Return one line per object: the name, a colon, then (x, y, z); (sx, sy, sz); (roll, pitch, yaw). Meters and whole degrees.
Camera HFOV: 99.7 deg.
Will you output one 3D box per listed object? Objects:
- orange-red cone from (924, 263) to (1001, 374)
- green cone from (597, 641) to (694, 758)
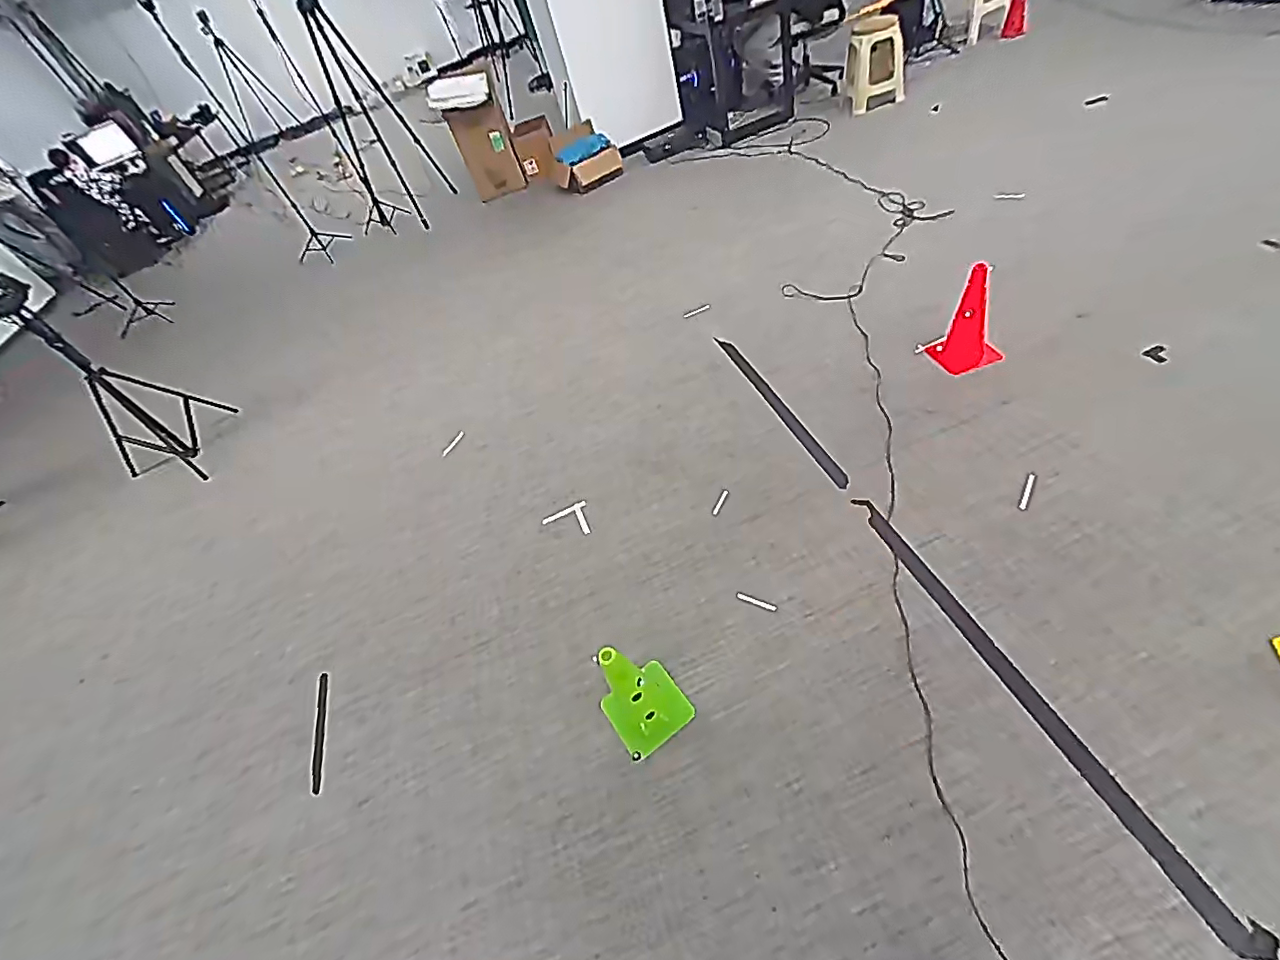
orange-red cone: (1.149, -0.583, 1.883); (0.198, 0.360, 0.199); (-19, 47, 4)
green cone: (-0.026, 0.498, 1.334); (0.200, 0.368, 0.202); (-35, 46, -13)
